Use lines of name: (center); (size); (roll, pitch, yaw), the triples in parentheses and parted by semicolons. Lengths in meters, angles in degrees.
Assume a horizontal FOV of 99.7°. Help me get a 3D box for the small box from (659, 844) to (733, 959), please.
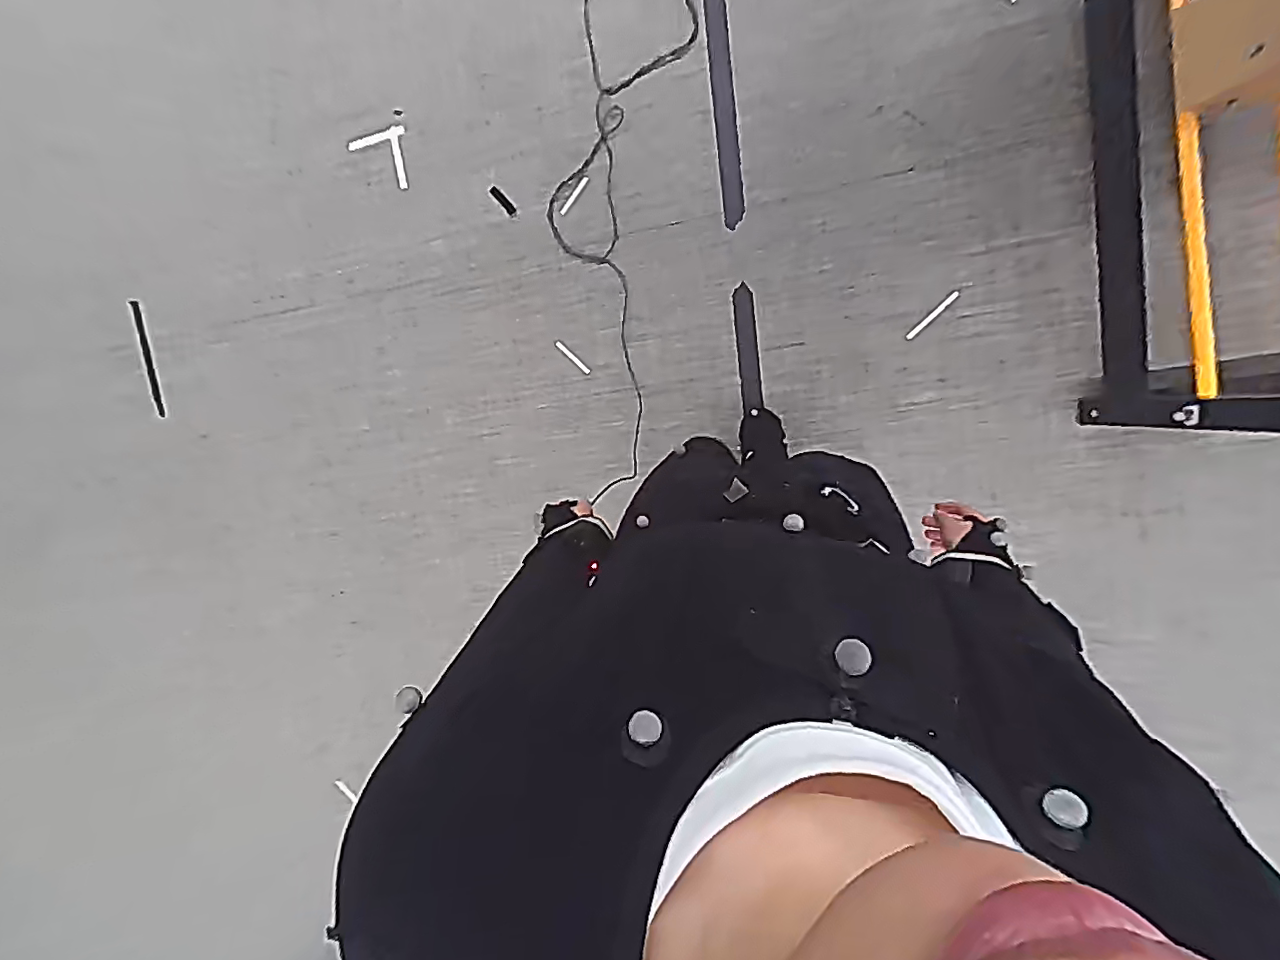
small box: (0.155, 1.122, 1.447); (0.168, 0.176, 0.179); (-6, 96, 14)
